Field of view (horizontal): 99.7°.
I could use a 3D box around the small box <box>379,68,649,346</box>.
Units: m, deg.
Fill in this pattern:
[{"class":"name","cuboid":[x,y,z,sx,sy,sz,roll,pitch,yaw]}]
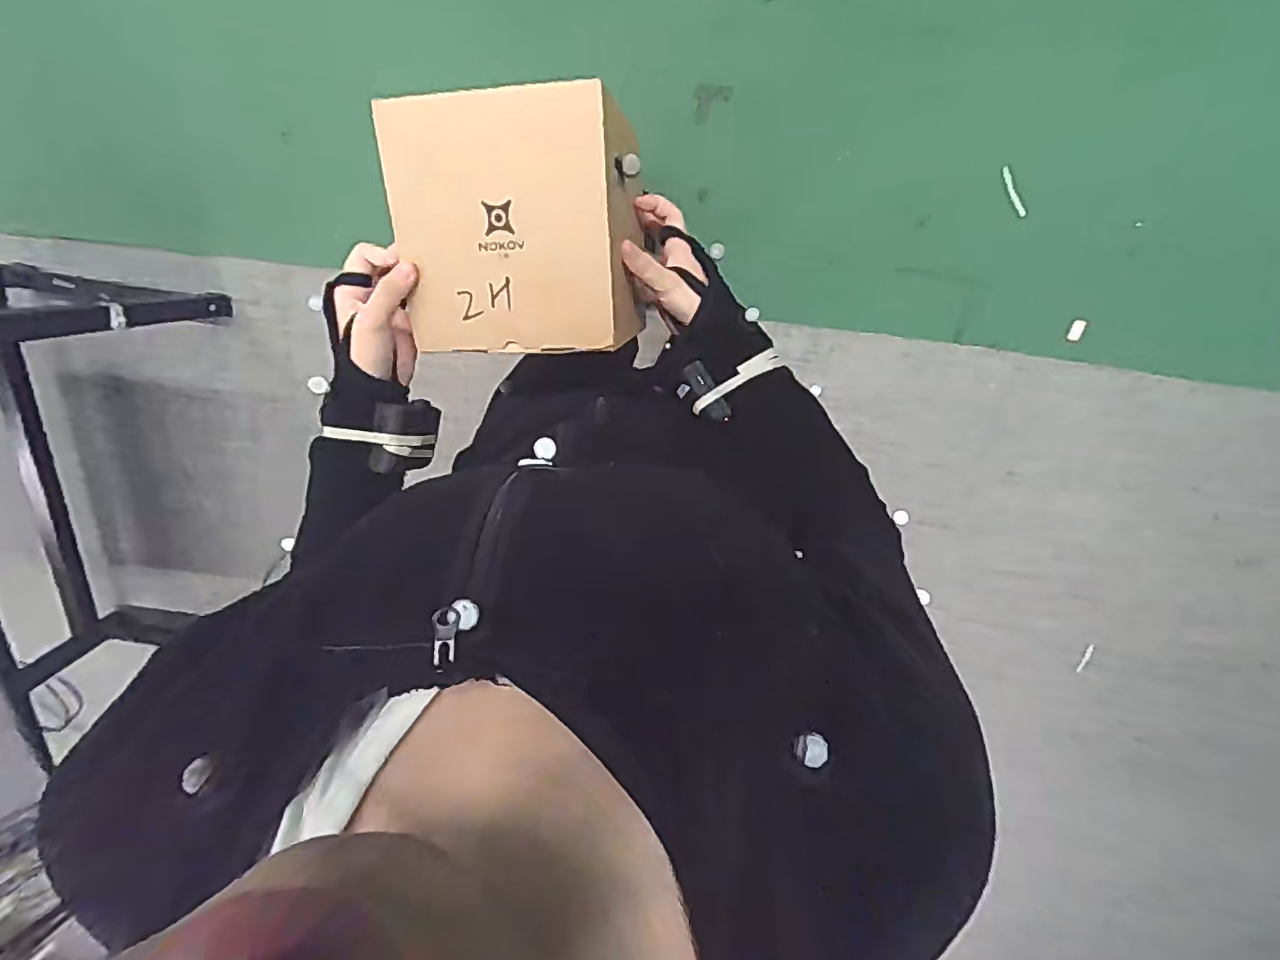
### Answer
[{"class":"small box","cuboid":[-0.084,-0.211,0.457,0.168,0.176,0.179,2,111,8]}]
